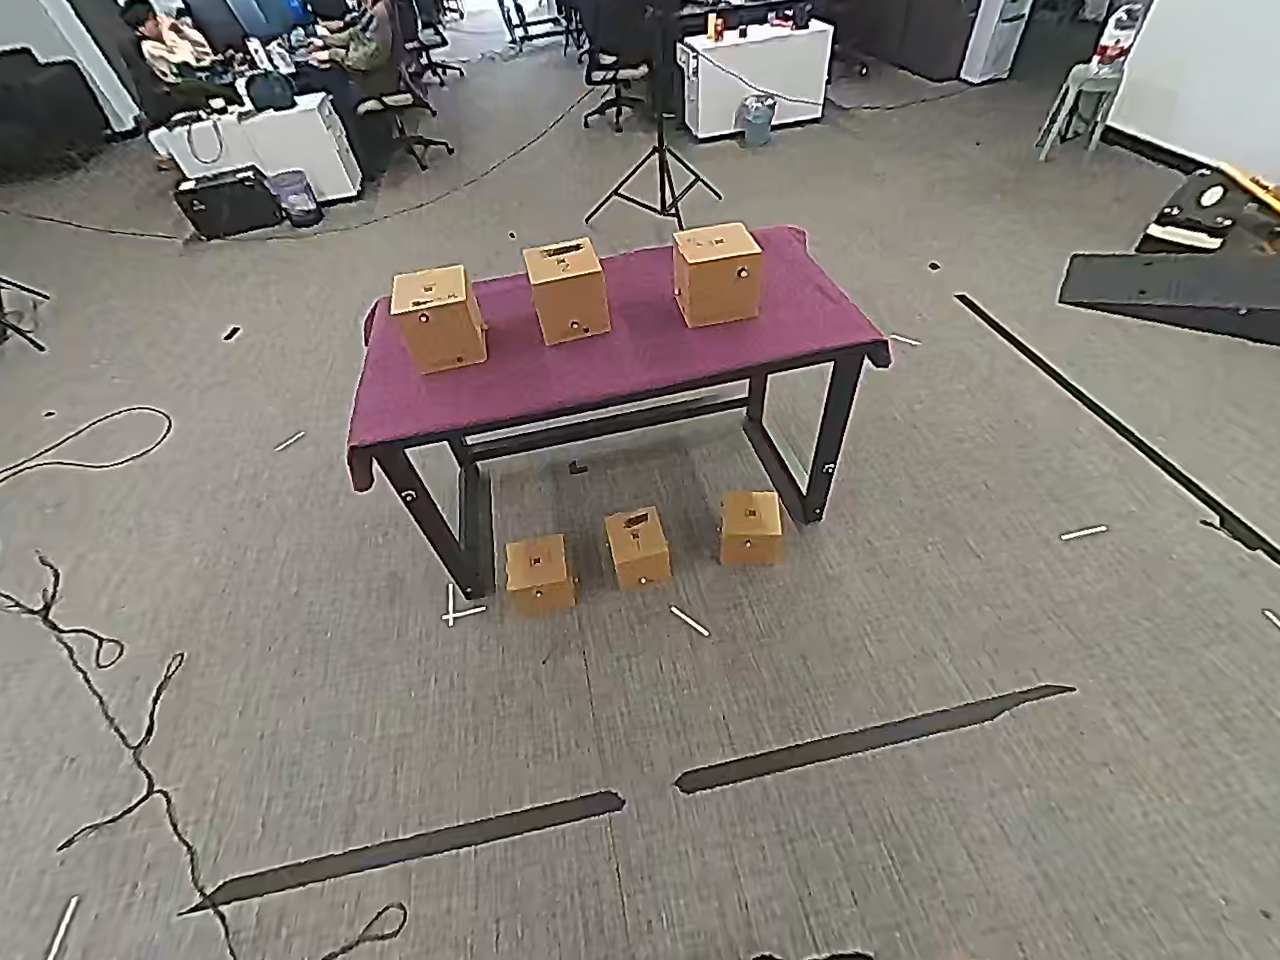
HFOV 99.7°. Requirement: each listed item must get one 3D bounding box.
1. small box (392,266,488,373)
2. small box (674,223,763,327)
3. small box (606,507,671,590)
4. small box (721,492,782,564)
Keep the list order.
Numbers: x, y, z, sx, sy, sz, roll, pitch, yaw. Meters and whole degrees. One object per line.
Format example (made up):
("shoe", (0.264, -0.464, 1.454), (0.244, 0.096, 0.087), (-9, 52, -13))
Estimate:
("small box", (-0.471, -0.382, 1.293), (0.168, 0.176, 0.179), (-14, 48, -6))
("small box", (0.186, -0.499, 1.321), (0.179, 0.176, 0.168), (-11, 48, -3))
("small box", (-0.005, 0.216, 1.688), (0.168, 0.176, 0.179), (-13, 50, -5))
("small box", (0.346, 0.153, 1.706), (0.179, 0.176, 0.168), (0, 50, 8))
